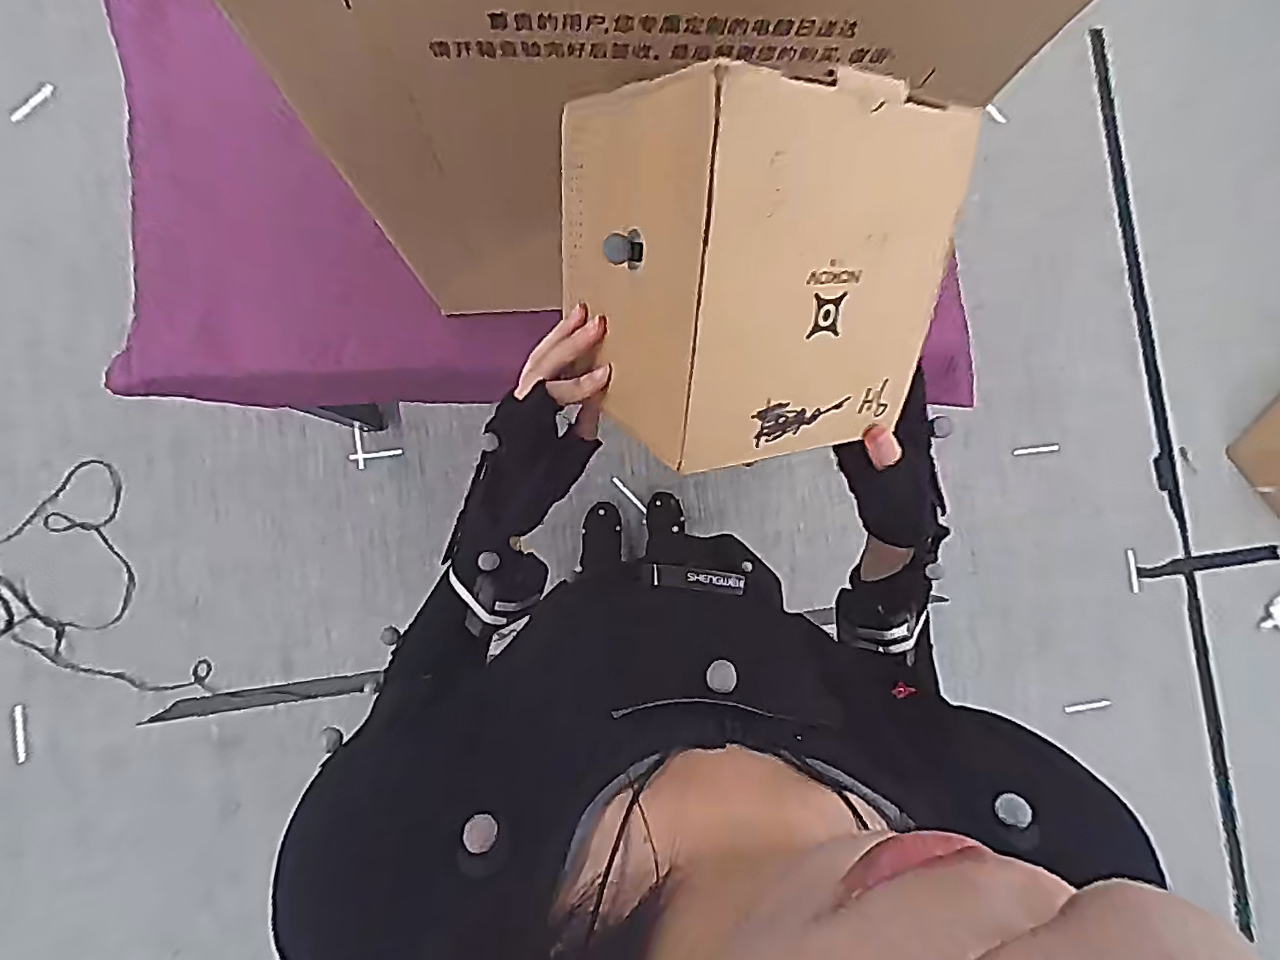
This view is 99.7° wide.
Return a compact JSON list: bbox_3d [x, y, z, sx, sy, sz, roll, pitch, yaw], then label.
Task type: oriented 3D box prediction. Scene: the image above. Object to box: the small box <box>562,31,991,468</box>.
[{"bbox_3d":[0.057,-0.130,0.326,0.168,0.176,0.179,-12,121,-25],"label":"small box"}]
